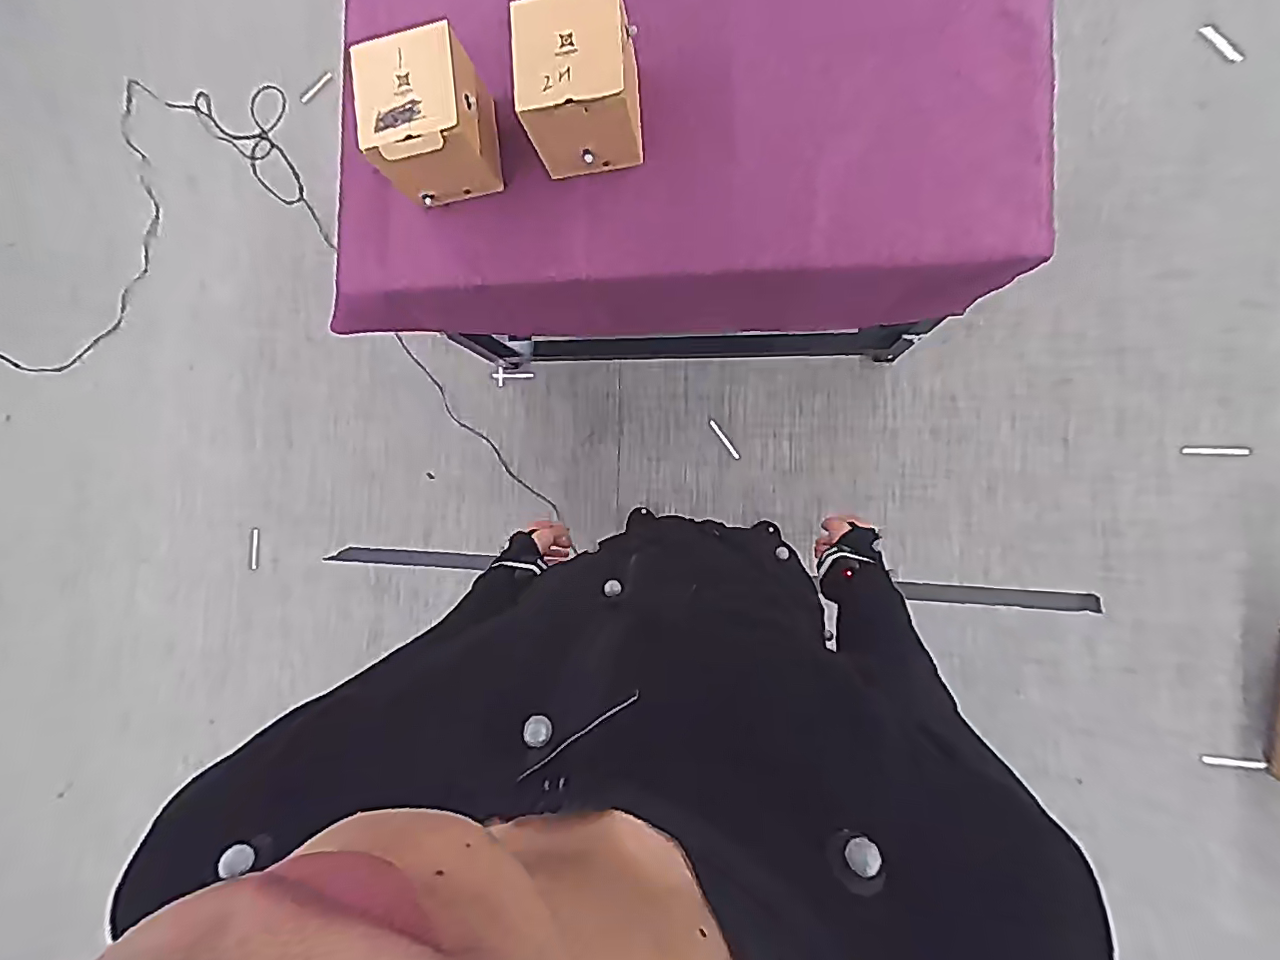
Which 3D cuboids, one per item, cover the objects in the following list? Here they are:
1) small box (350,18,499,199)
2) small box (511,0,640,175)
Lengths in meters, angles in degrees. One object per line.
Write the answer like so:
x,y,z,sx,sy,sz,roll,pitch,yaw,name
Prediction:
-0.347,-0.597,0.900,0.168,0.176,0.179,-8,86,9,small box
-0.095,-0.627,0.861,0.168,0.176,0.179,-4,88,9,small box
